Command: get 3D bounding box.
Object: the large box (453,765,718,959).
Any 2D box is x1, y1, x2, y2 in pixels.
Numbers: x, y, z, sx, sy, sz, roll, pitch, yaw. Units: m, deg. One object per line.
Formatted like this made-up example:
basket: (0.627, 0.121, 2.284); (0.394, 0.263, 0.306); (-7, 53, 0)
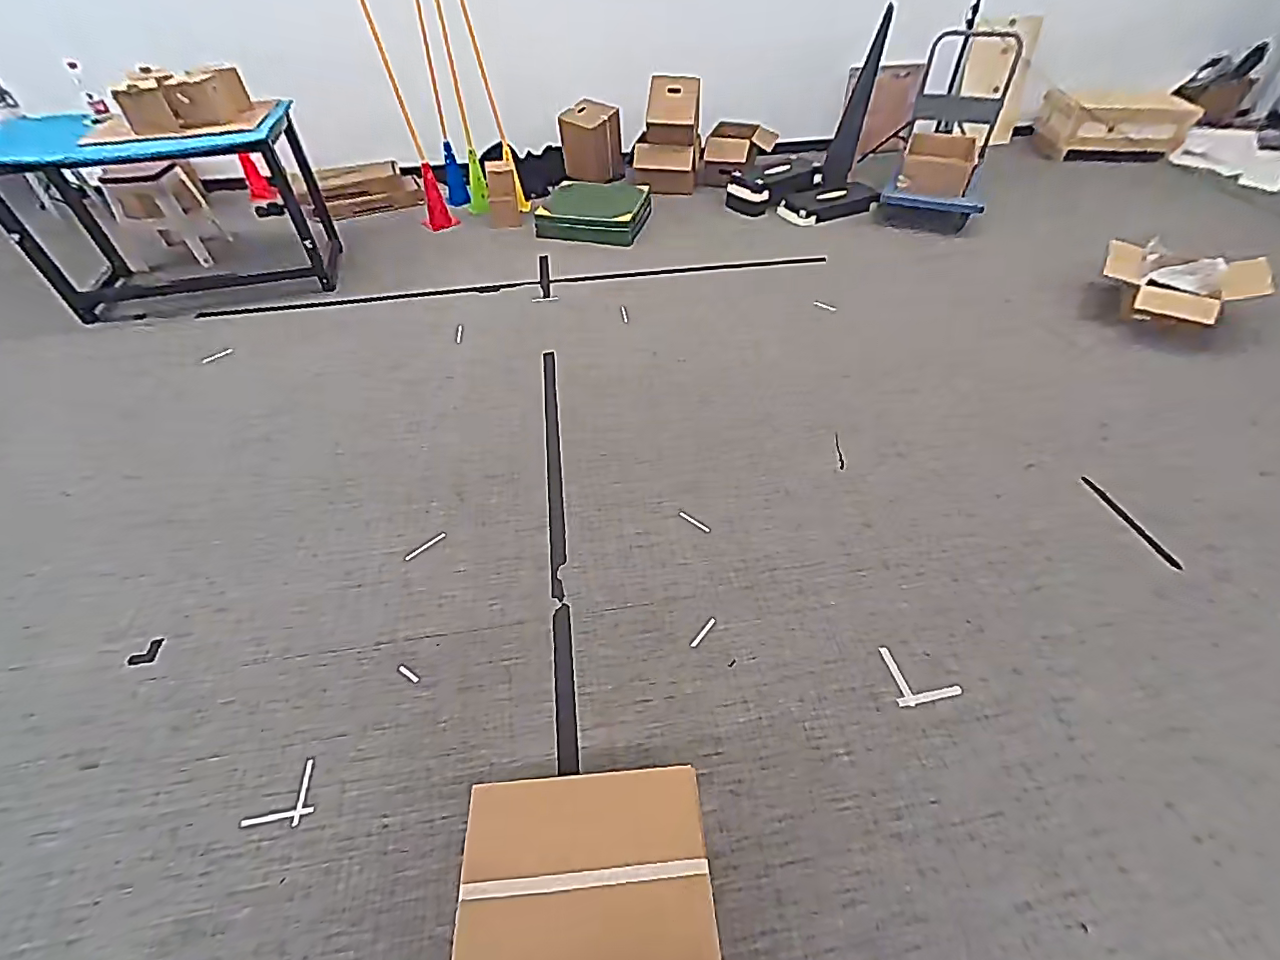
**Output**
large box: (-0.090, 0.752, 0.989); (0.408, 0.320, 0.320); (-4, 45, -3)
